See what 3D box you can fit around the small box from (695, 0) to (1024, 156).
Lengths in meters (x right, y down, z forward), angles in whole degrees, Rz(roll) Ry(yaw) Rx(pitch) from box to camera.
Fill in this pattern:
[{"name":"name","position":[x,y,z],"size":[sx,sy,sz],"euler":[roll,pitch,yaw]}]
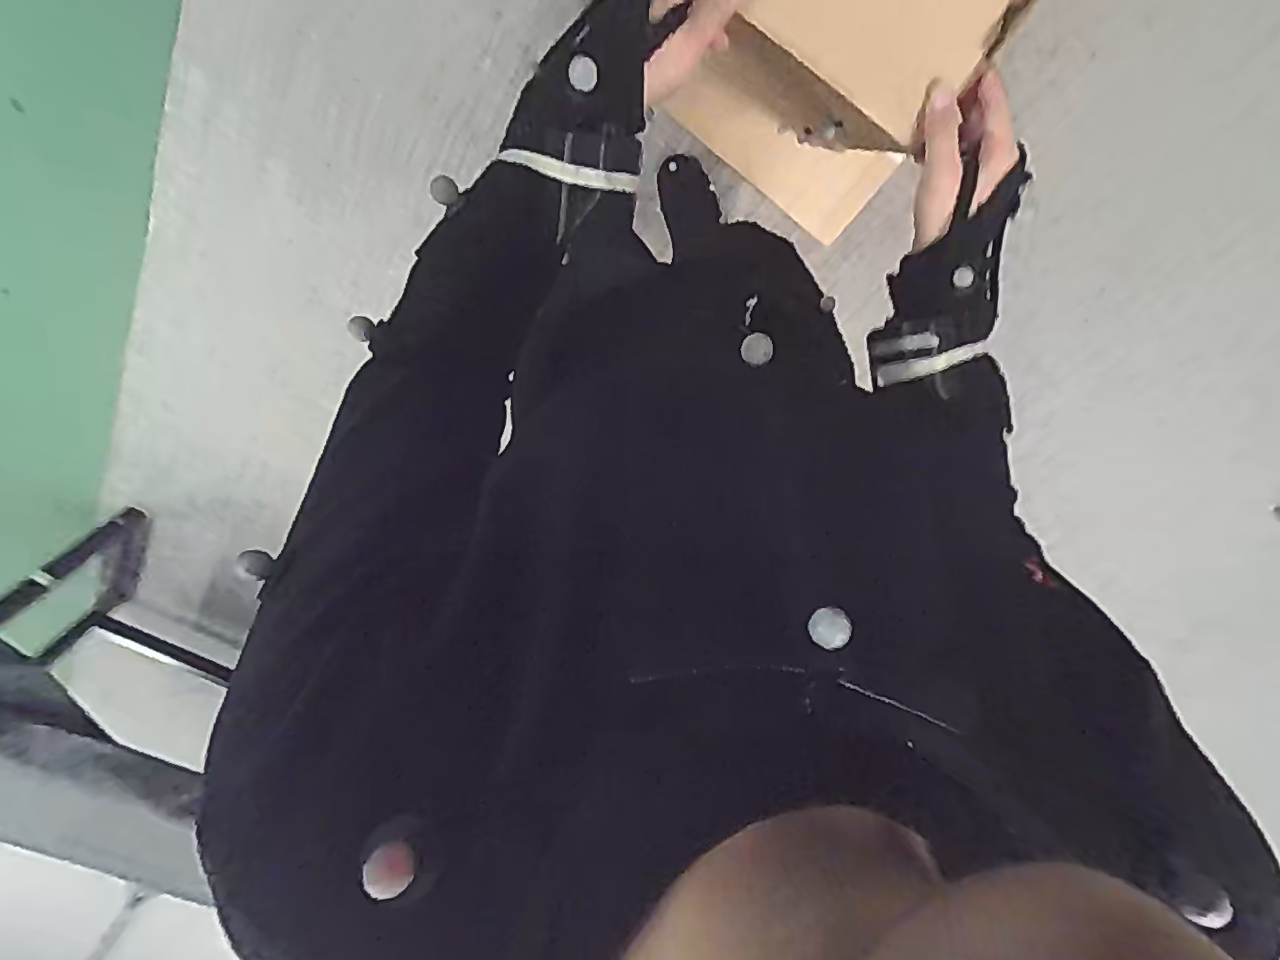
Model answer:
[{"name":"small box","position":[0.154,-0.362,0.381],"size":[0.179,0.176,0.168],"euler":[26,119,-13]}]

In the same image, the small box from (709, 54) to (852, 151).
[{"name":"small box","position":[0.182,-0.465,0.545],"size":[0.179,0.176,0.168],"euler":[30,121,-15]}]

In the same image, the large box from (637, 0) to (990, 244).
[{"name":"large box","position":[0.247,-0.669,0.893],"size":[0.408,0.320,0.320],"euler":[31,122,-16]}]
